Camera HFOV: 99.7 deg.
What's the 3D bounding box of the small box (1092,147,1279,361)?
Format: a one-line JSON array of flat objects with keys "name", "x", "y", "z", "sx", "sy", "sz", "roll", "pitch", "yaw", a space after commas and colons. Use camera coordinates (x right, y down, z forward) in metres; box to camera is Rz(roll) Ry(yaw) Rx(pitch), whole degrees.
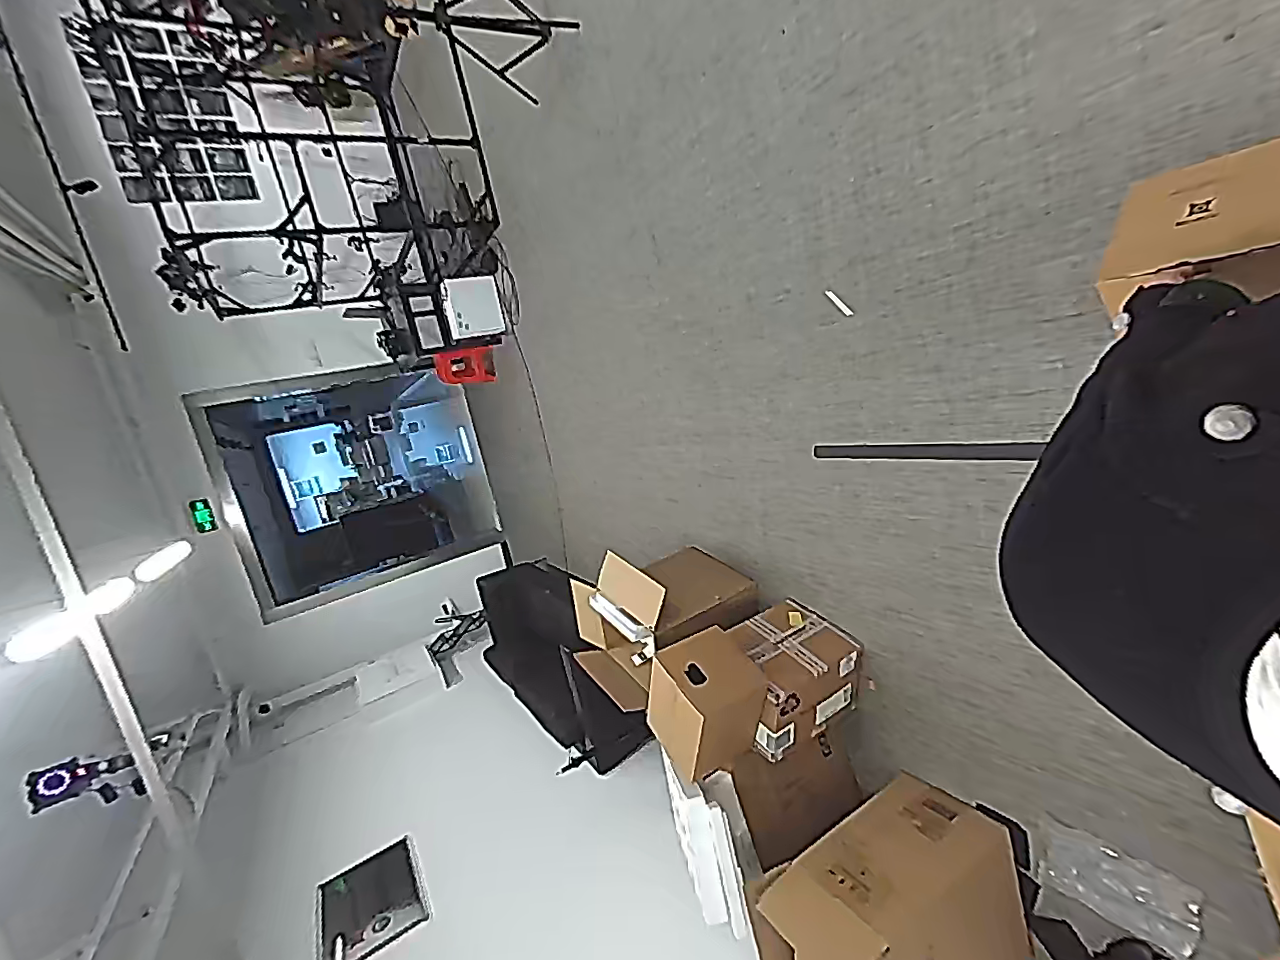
[{"name": "small box", "x": 0.714, "y": -0.266, "z": 0.678, "sx": 0.176, "sy": 0.179, "sz": 0.168, "roll": 38, "pitch": 164, "yaw": -29}]
